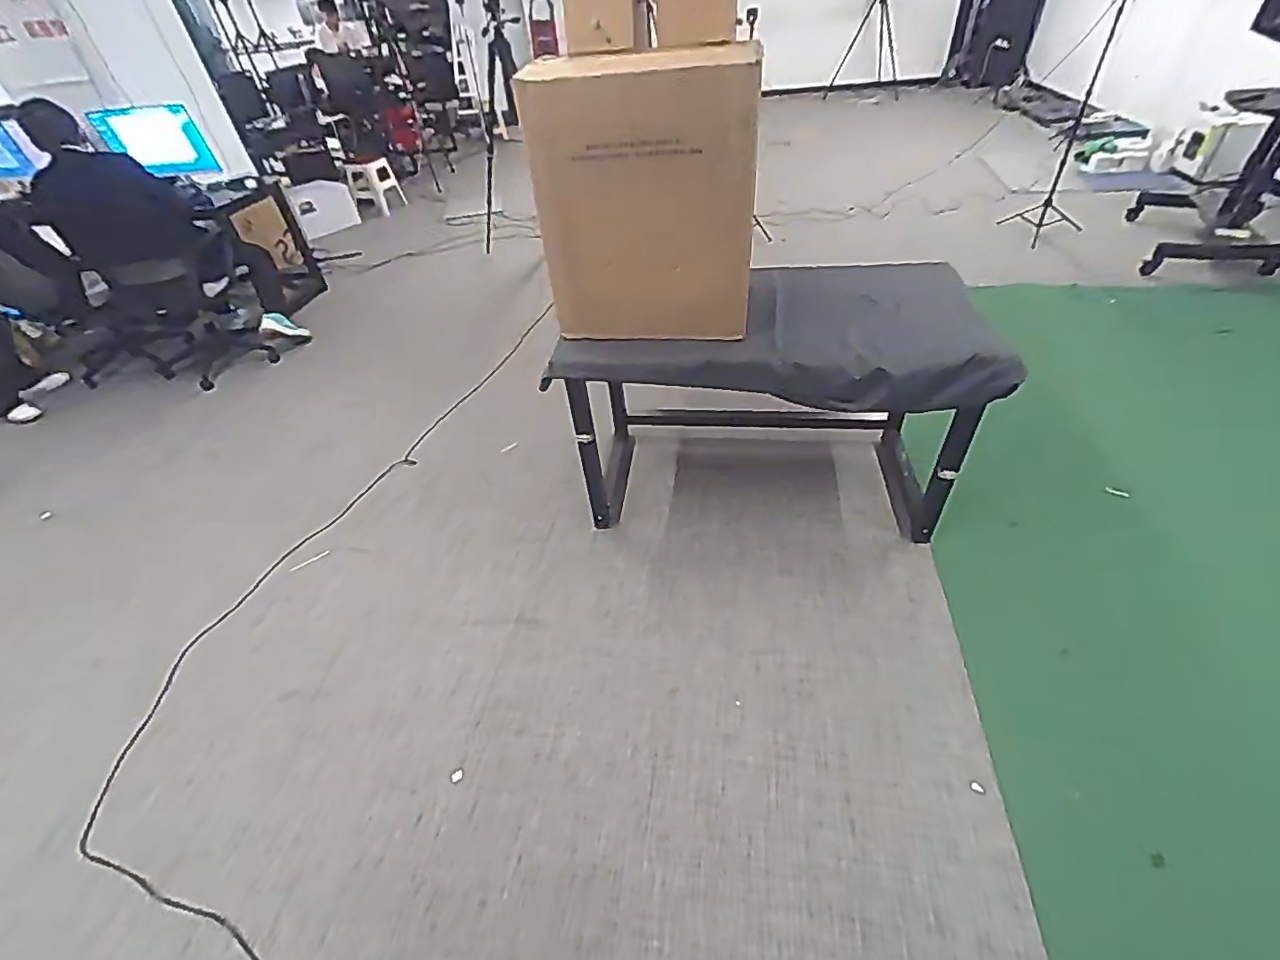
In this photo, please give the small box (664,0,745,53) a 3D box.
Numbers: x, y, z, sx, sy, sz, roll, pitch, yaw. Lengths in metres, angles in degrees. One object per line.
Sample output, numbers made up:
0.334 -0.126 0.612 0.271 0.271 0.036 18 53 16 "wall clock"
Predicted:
0.151 -1.102 1.253 0.179 0.176 0.168 4 40 10 "small box"
